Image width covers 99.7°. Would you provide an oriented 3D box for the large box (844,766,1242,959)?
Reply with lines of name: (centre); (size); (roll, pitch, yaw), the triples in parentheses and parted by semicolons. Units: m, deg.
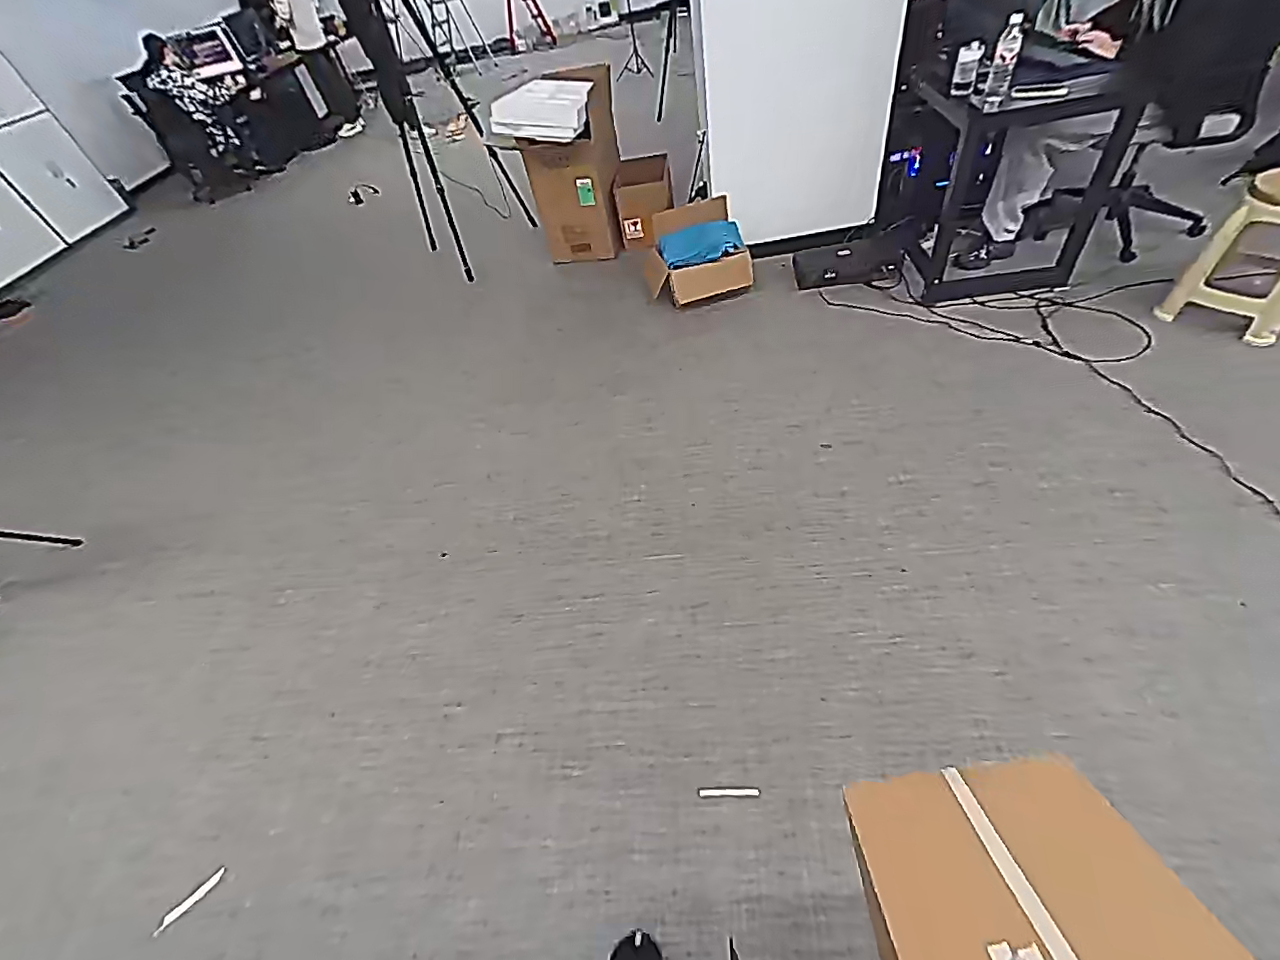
large box: (0.470, 0.621, 0.622); (0.320, 0.320, 0.408); (-14, 11, 9)
